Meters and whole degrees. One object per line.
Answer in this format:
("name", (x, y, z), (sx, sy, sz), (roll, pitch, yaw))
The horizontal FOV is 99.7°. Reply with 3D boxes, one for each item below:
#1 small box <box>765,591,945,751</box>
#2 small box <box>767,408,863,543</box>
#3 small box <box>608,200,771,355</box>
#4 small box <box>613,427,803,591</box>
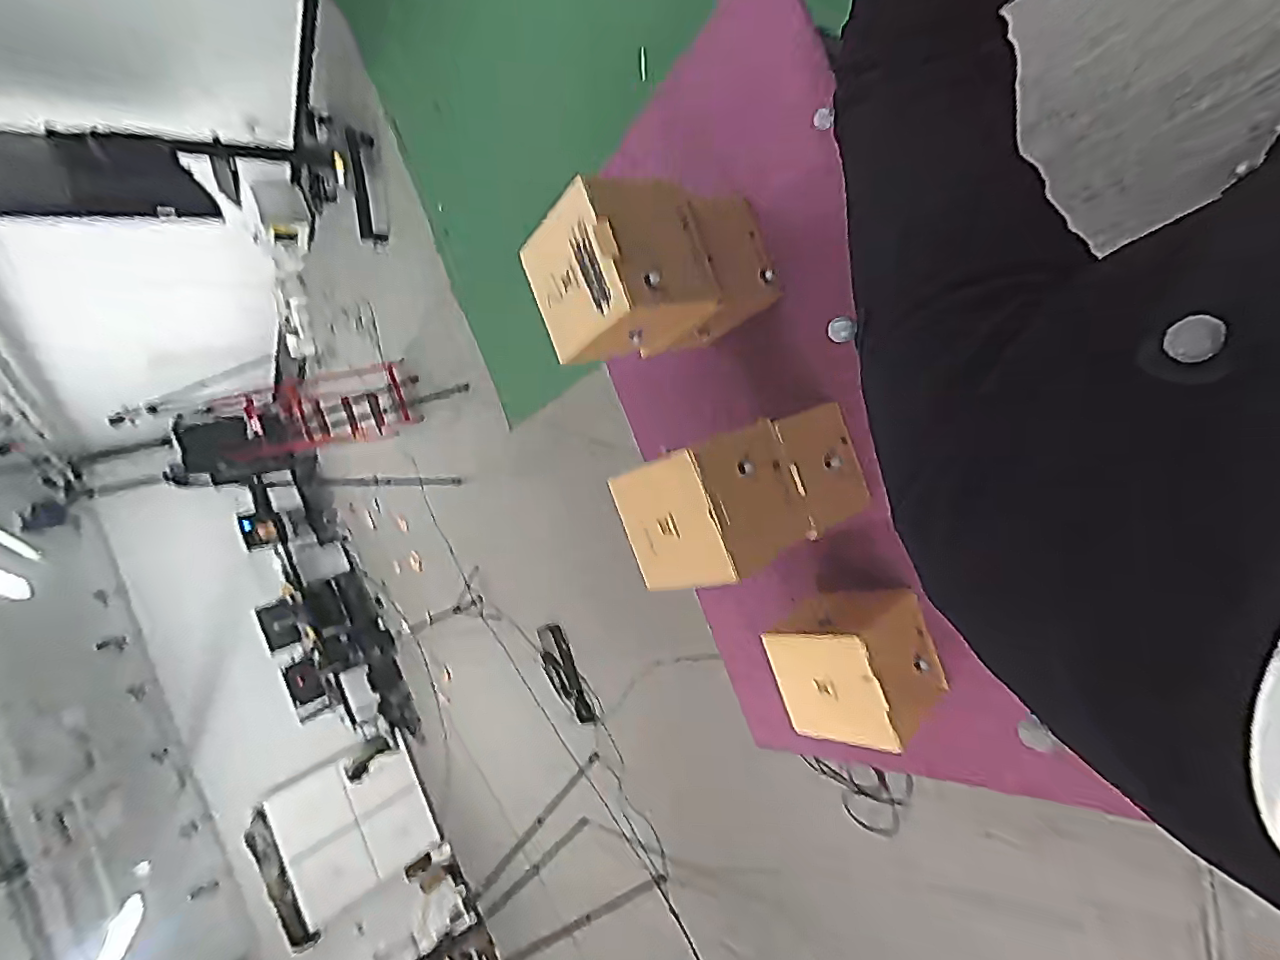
("small box", (0.333, 0.282, 0.837), (0.179, 0.176, 0.168), (-20, 91, 51))
("small box", (0.221, -0.001, 0.840), (0.179, 0.176, 0.168), (-19, 91, 51))
("small box", (0.085, -0.314, 0.855), (0.179, 0.176, 0.168), (-18, 91, 51))
("small box", (0.099, 0.039, 0.739), (0.179, 0.176, 0.168), (-20, 90, 51))
